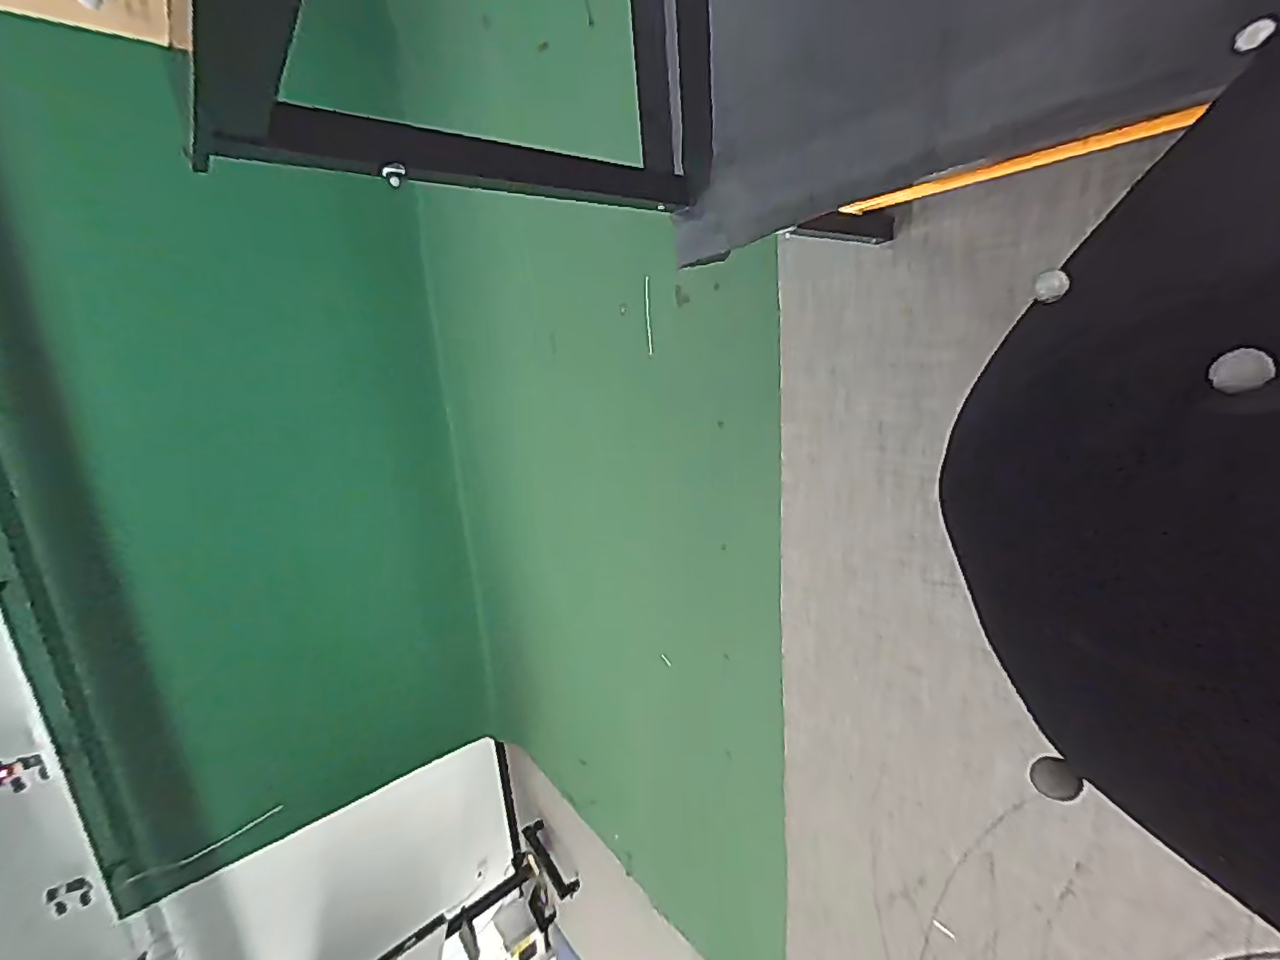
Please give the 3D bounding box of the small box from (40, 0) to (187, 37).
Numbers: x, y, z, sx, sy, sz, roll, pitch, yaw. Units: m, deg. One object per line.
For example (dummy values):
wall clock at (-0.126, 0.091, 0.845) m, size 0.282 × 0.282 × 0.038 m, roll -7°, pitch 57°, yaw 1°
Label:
small box at (-0.442, -0.466, 0.378) m, size 0.168 × 0.176 × 0.179 m, roll 12°, pitch 112°, yaw 50°
